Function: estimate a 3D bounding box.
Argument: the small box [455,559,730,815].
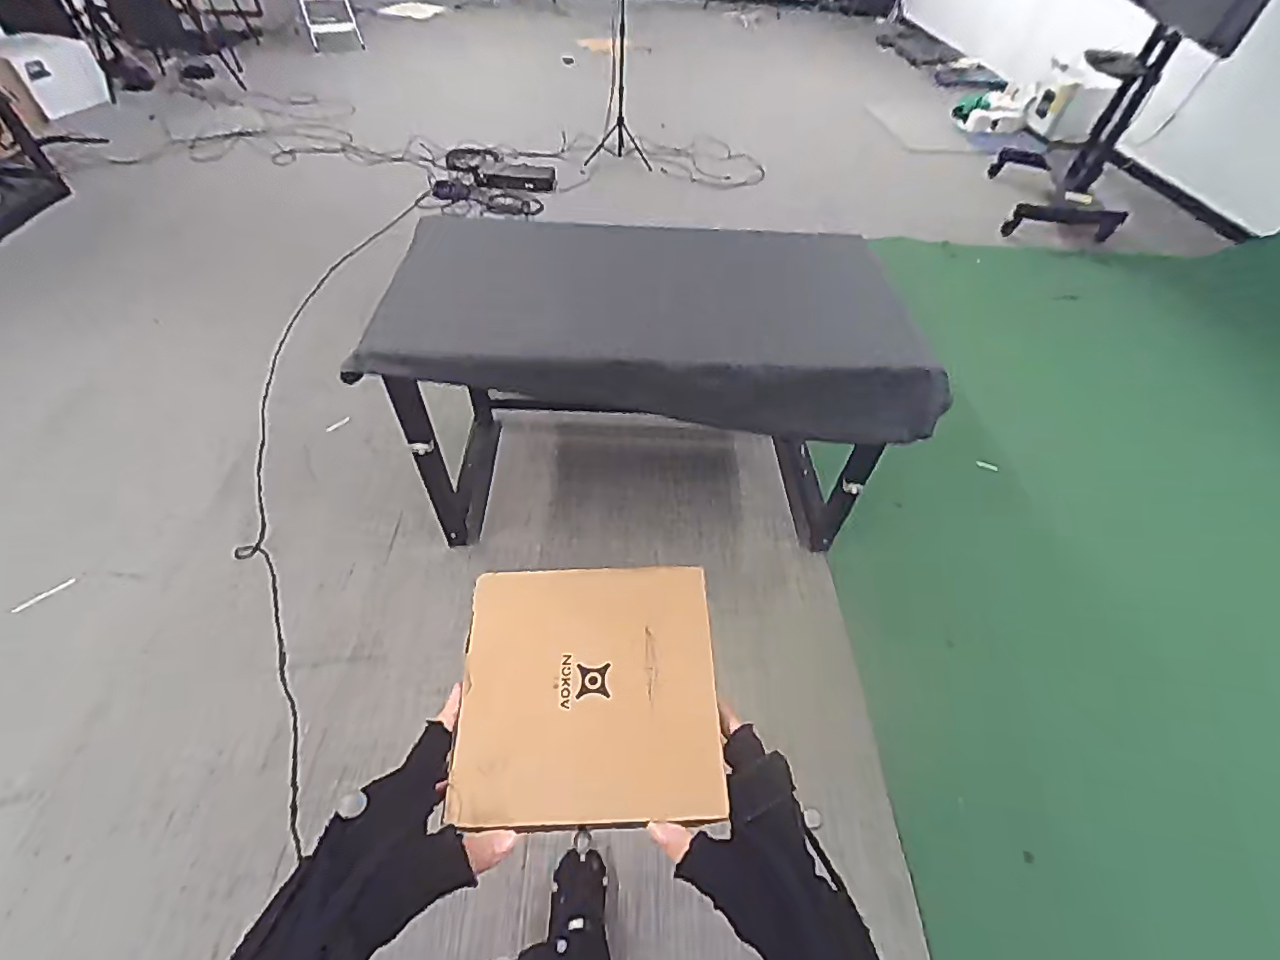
[{"bbox_3d":[-0.032,0.176,0.446,0.179,0.176,0.168,-2,58,-2],"label":"small box"}]
